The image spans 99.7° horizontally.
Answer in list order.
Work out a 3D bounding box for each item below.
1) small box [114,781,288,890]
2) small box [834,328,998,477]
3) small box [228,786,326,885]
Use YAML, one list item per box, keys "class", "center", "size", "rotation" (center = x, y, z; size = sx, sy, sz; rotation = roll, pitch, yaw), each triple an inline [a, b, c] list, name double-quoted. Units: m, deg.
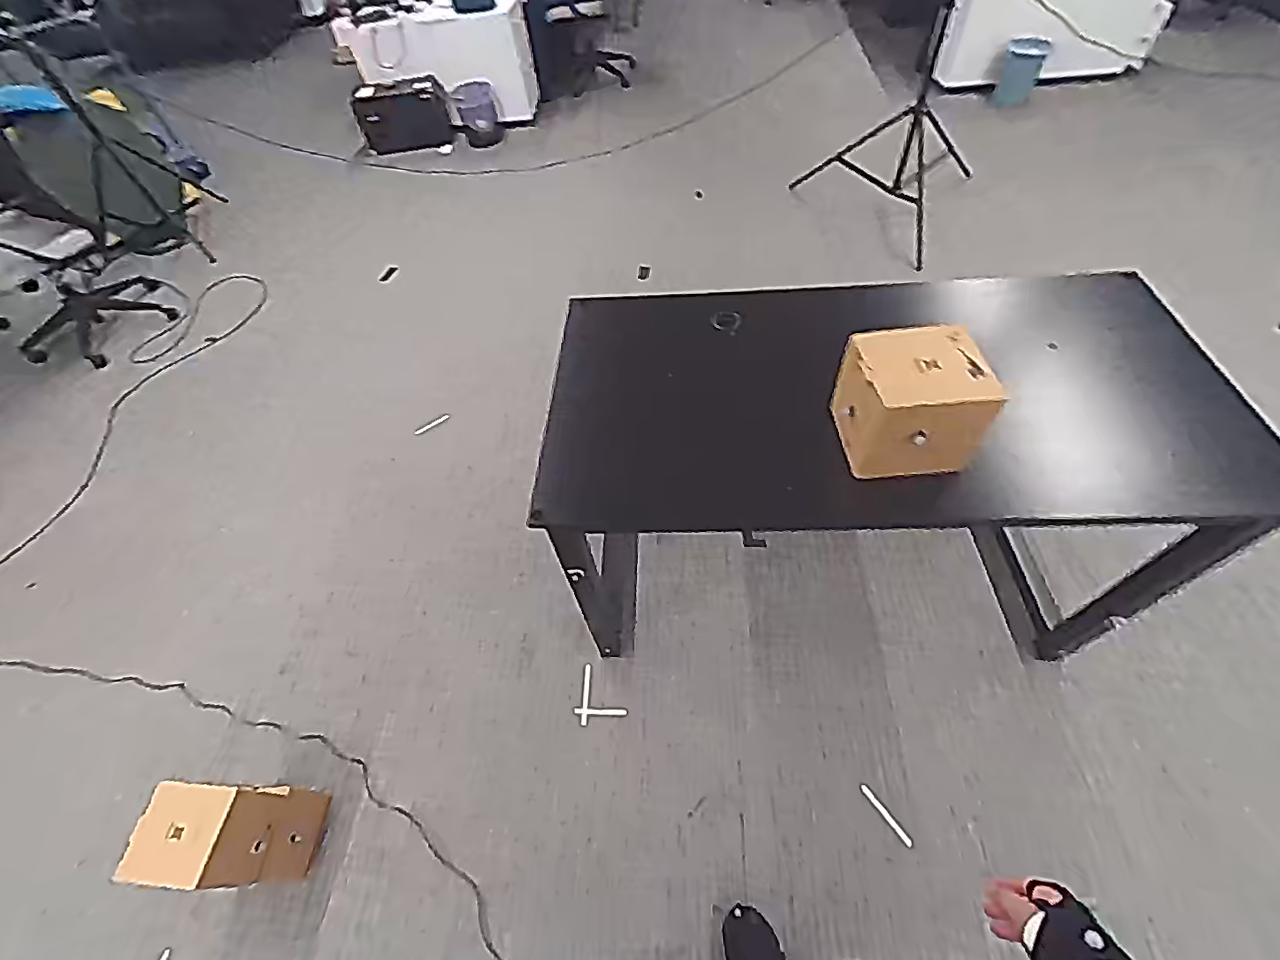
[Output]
- class: "small box"
  center: [-0.873, 0.719, 1.097]
  size: [0.179, 0.176, 0.168]
  rotation: [1, 56, 5]
- class: "small box"
  center: [0.424, -0.119, 0.873]
  size: [0.179, 0.176, 0.168]
  rotation: [-5, 53, 3]
- class: "small box"
  center: [-0.855, 0.809, 1.232]
  size: [0.168, 0.176, 0.179]
  rotation: [-1, 55, 5]
